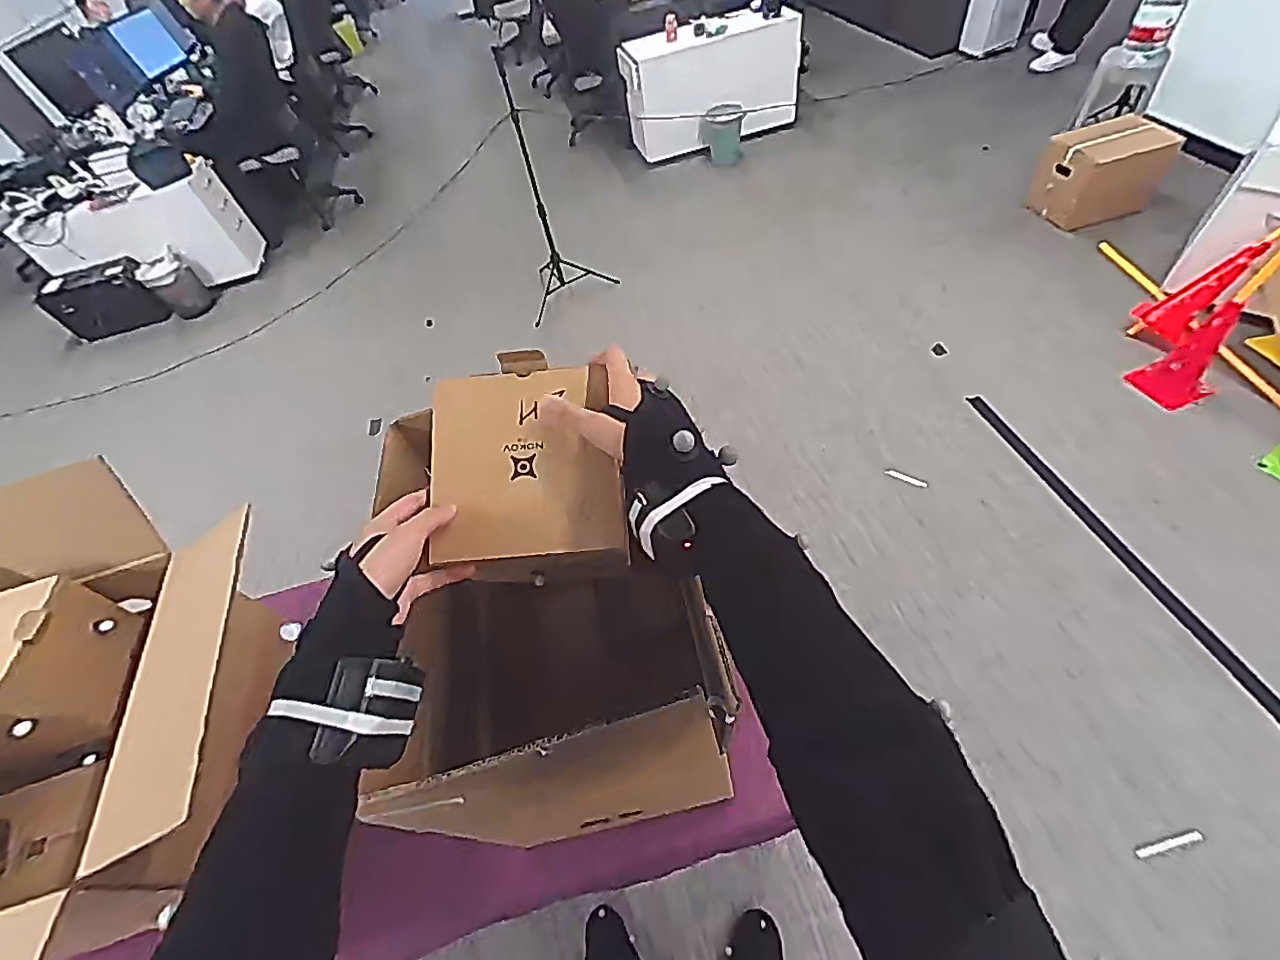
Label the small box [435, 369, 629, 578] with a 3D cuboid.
[{"bbox_3d":[-0.098,0.005,0.561,0.168,0.176,0.179,-4,72,-1],"label":"small box"}]
